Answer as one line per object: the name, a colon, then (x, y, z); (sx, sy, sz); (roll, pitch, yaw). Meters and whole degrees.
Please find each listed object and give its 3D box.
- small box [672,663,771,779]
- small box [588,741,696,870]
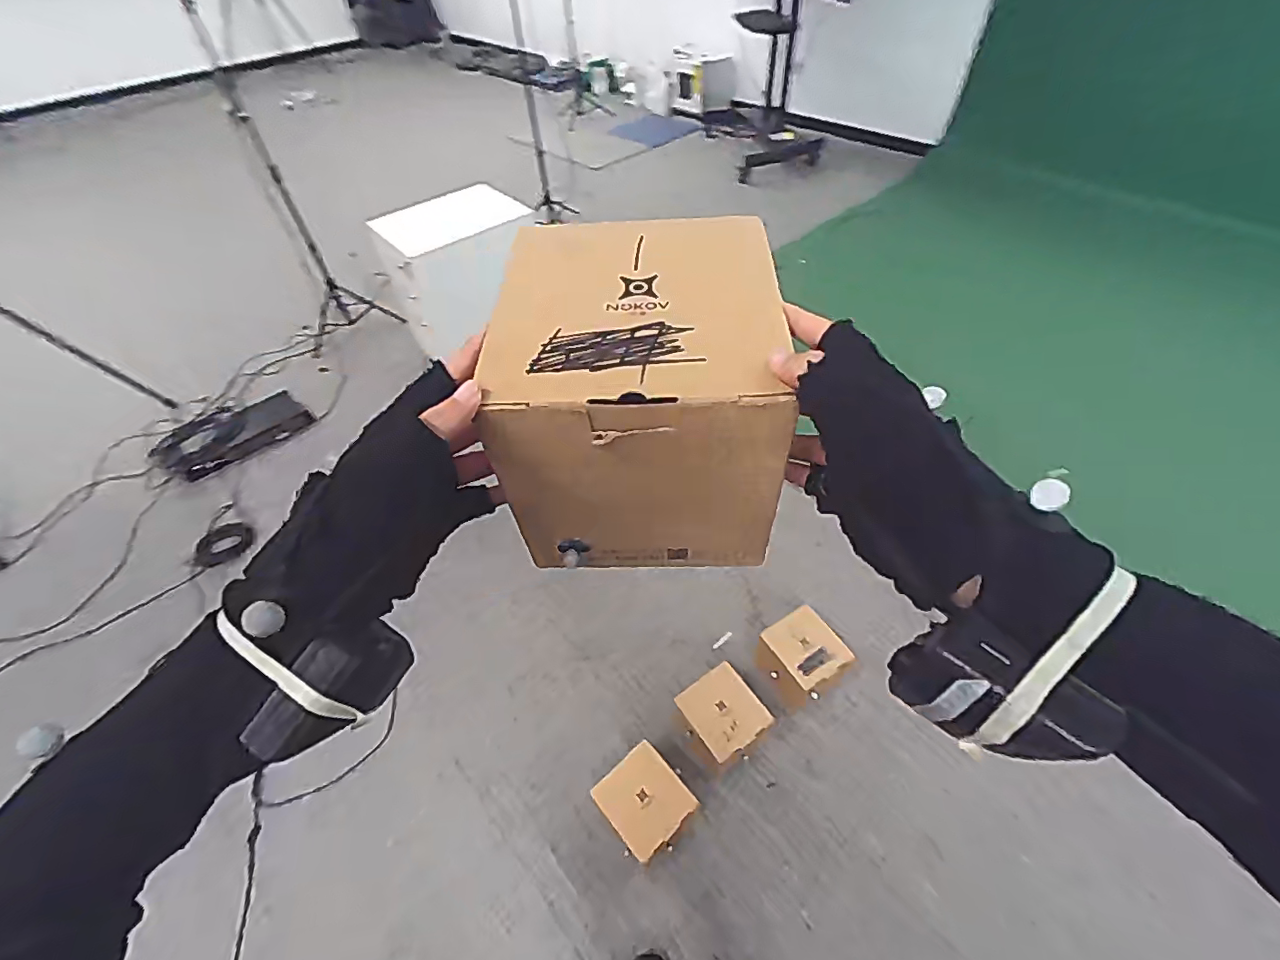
small box: (0.189, 0.589, 1.318); (0.168, 0.176, 0.179); (-29, 54, -20)
small box: (0.006, 0.730, 1.207); (0.168, 0.176, 0.179); (-36, 56, -25)
